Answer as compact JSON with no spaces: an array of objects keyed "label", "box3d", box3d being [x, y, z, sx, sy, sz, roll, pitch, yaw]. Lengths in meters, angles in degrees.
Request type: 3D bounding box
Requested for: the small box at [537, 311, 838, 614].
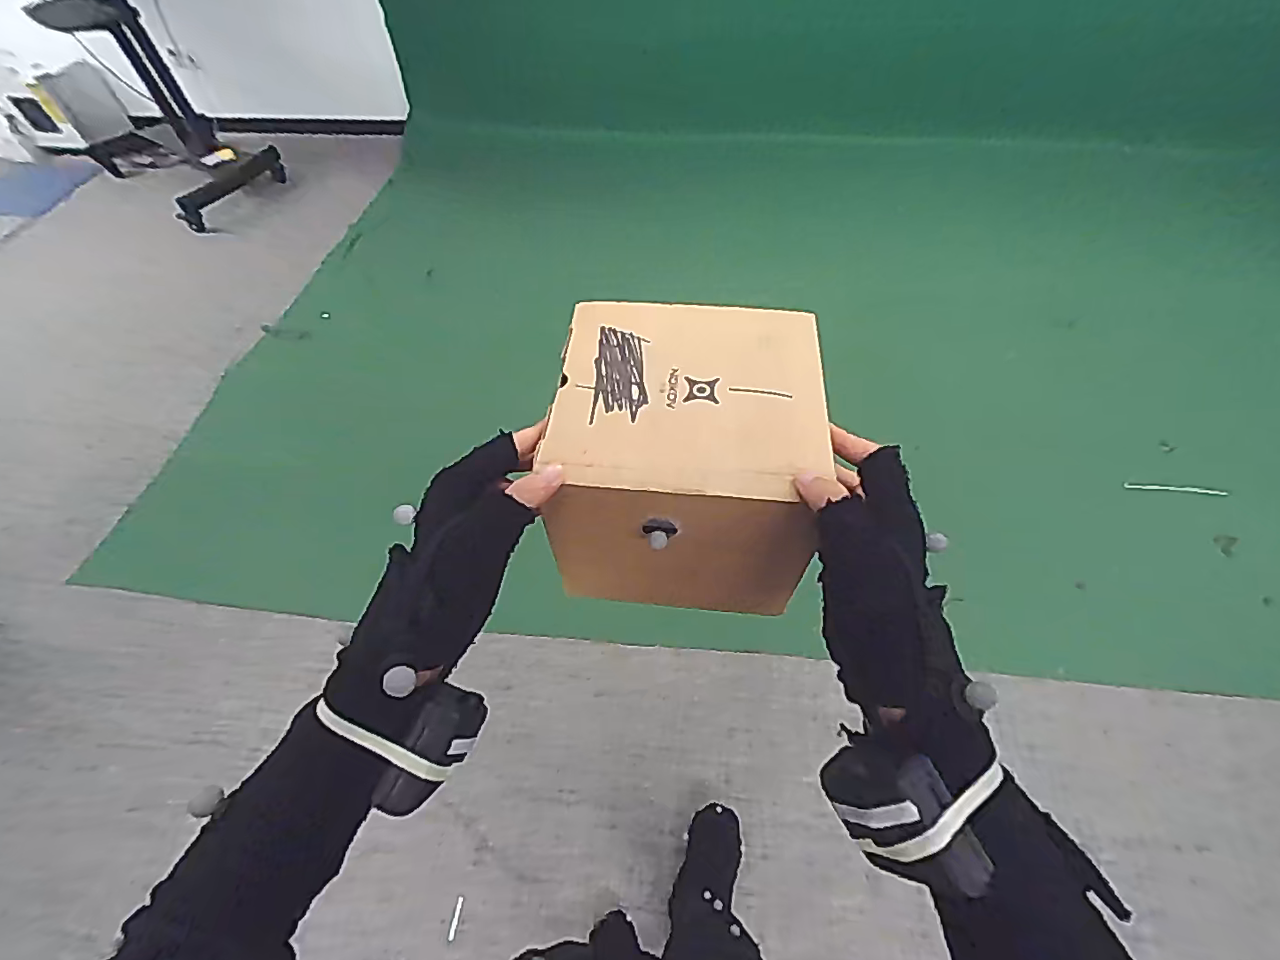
[{"label":"small box","box3d":[0.035,-0.008,0.417,0.179,0.176,0.168,4,55,4]}]
